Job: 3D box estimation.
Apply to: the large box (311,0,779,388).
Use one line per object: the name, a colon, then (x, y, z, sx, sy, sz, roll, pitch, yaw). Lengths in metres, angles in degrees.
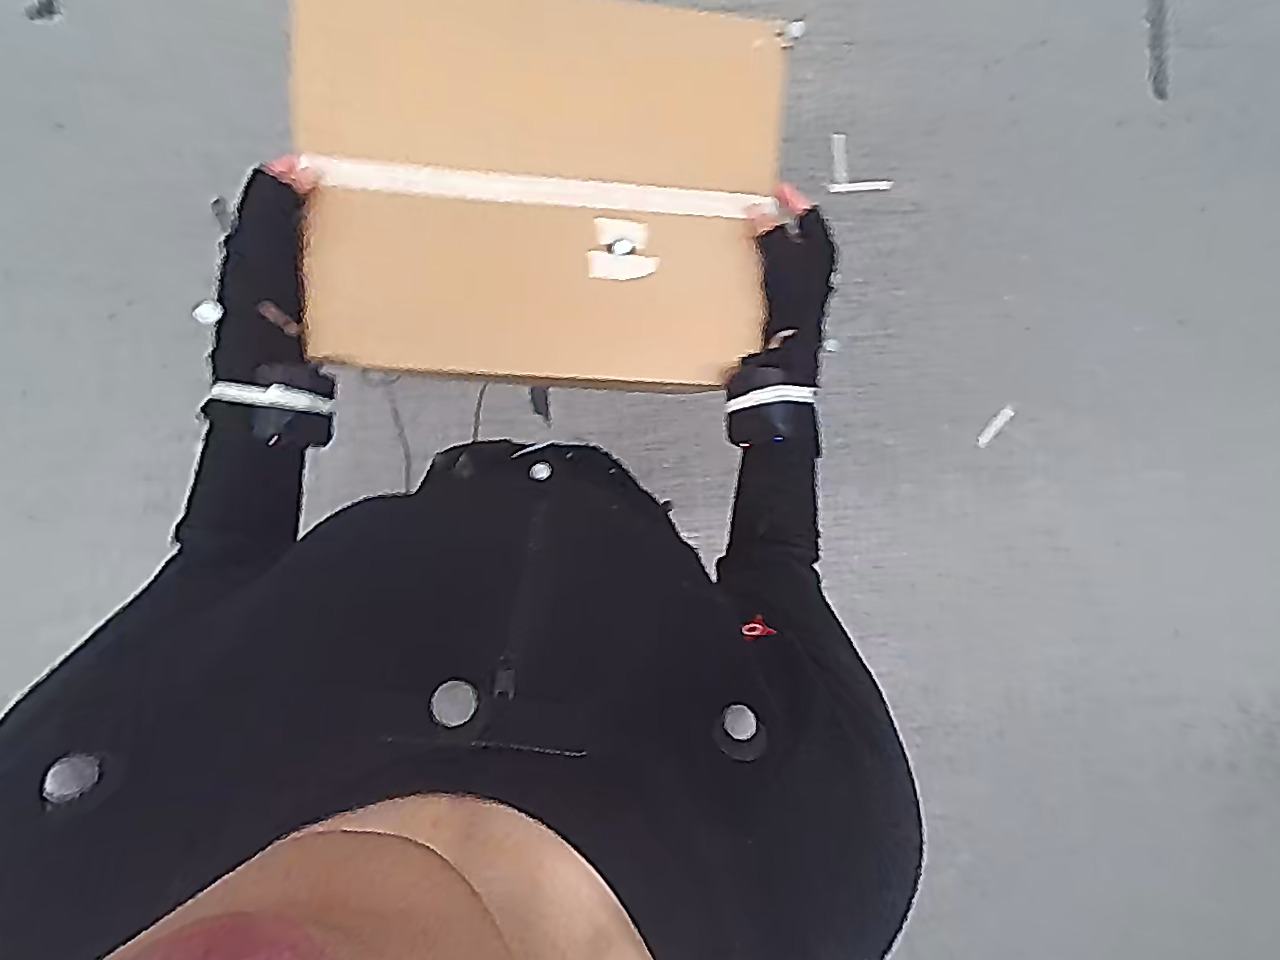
large box: (-0.095, -0.272, 0.627, 0.408, 0.320, 0.320, 2, 99, -8)
